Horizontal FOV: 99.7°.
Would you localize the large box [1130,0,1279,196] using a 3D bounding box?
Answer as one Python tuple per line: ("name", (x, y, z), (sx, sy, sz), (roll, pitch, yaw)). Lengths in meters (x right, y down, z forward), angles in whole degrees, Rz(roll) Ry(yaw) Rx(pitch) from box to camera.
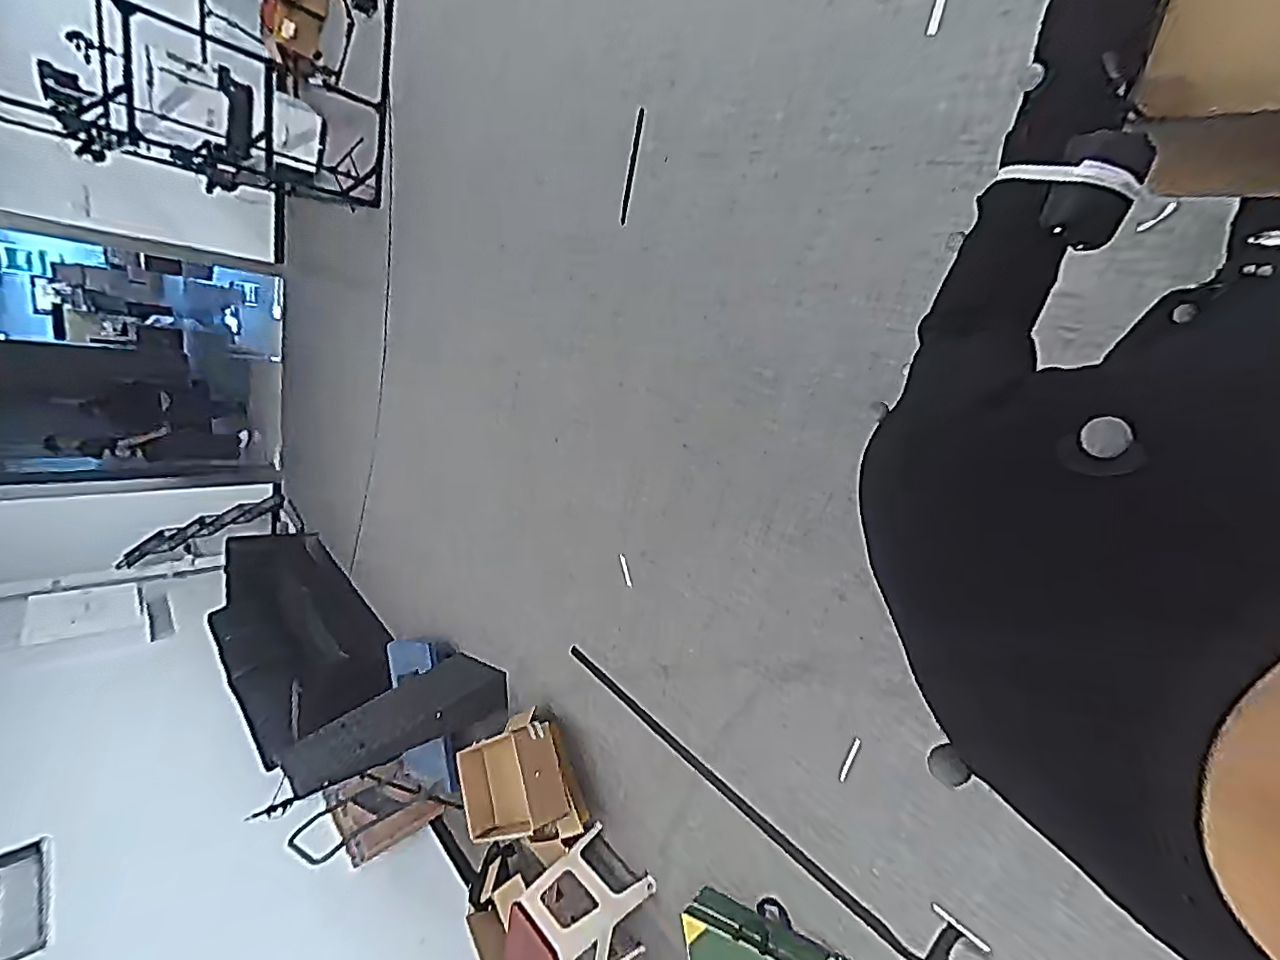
("large box", (0.611, -0.374, 0.321), (0.408, 0.320, 0.320), (24, 117, 40))
